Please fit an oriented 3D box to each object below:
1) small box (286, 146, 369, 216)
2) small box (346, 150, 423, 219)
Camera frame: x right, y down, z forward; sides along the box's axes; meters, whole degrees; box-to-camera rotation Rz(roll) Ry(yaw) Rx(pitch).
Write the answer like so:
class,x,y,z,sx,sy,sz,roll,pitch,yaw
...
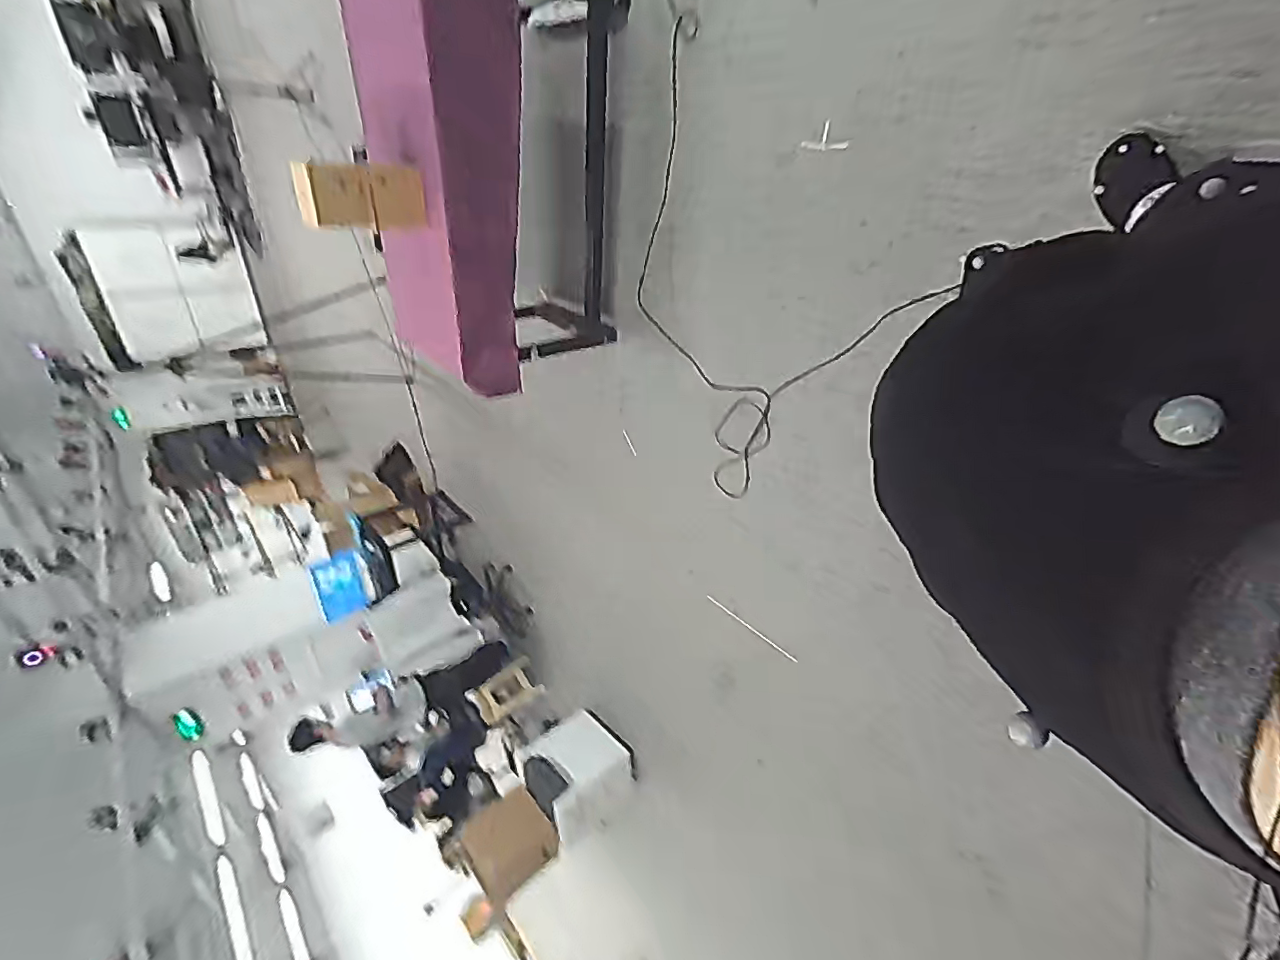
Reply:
class,x,y,z,sx,sy,sz,roll,pitch,yaw
small box,-0.929,-0.897,1.622,0.179,0.176,0.168,34,130,38
small box,-0.809,-0.940,1.723,0.168,0.176,0.179,34,131,37
